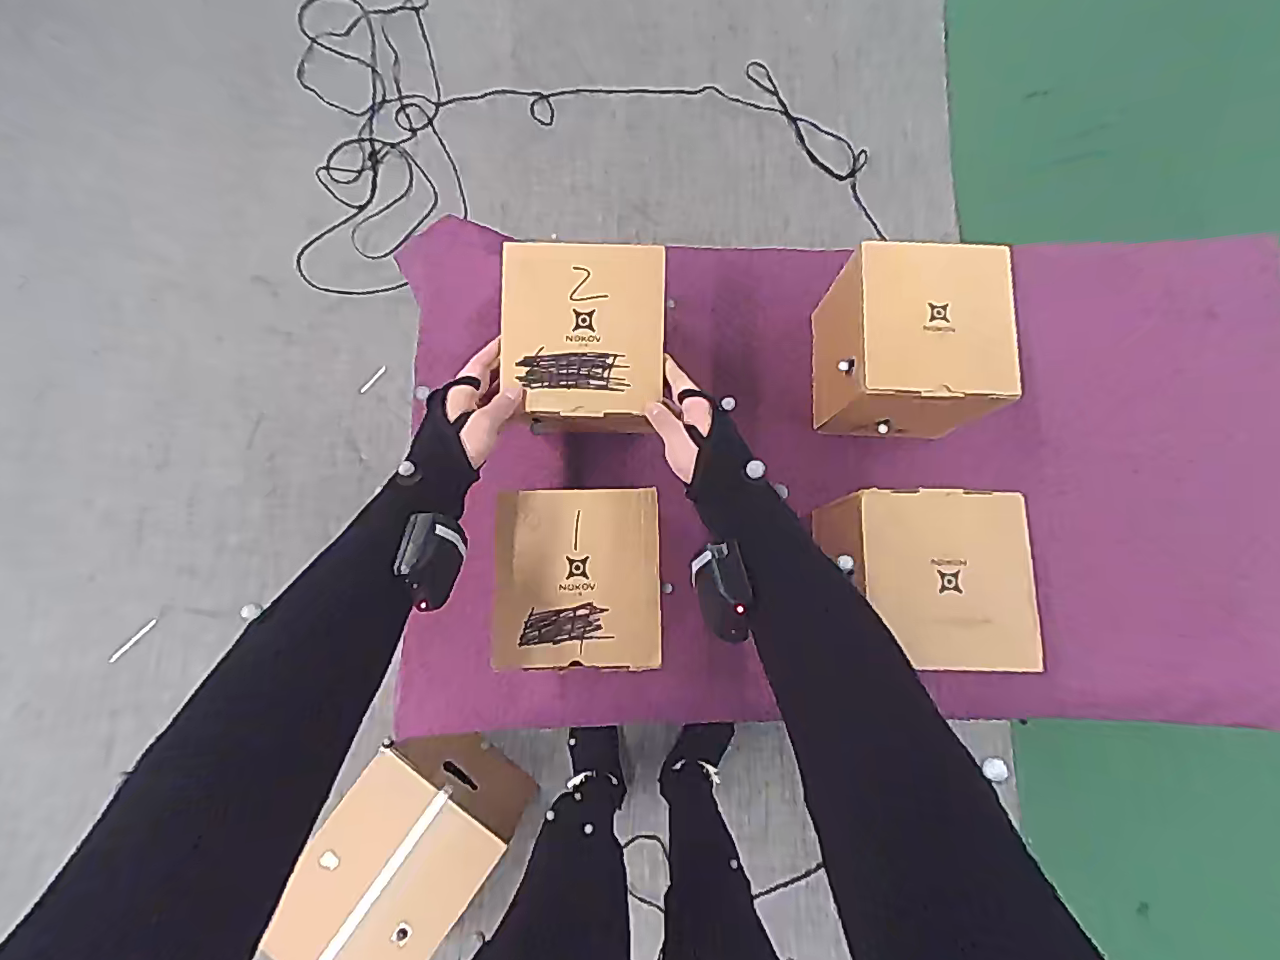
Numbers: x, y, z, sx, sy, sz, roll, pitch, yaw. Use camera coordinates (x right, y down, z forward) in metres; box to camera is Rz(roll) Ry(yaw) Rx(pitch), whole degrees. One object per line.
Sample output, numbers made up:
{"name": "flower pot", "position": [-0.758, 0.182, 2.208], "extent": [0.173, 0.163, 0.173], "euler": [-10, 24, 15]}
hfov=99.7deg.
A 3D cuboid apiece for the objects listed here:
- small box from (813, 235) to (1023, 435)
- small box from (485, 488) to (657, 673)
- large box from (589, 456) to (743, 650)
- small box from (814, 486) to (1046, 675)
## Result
{"name": "small box", "position": [0.314, -0.162, 0.646], "extent": [0.168, 0.176, 0.179], "euler": [2, 81, 0]}
{"name": "small box", "position": [-0.064, 0.108, 0.597], "extent": [0.168, 0.176, 0.179], "euler": [-1, 78, 0]}
{"name": "large box", "position": [0.051, 0.175, 1.258], "extent": [0.320, 0.320, 0.408], "euler": [0, 79, 0]}
{"name": "small box", "position": [0.298, 0.109, 0.596], "extent": [0.168, 0.176, 0.179], "euler": [2, 79, 1]}
